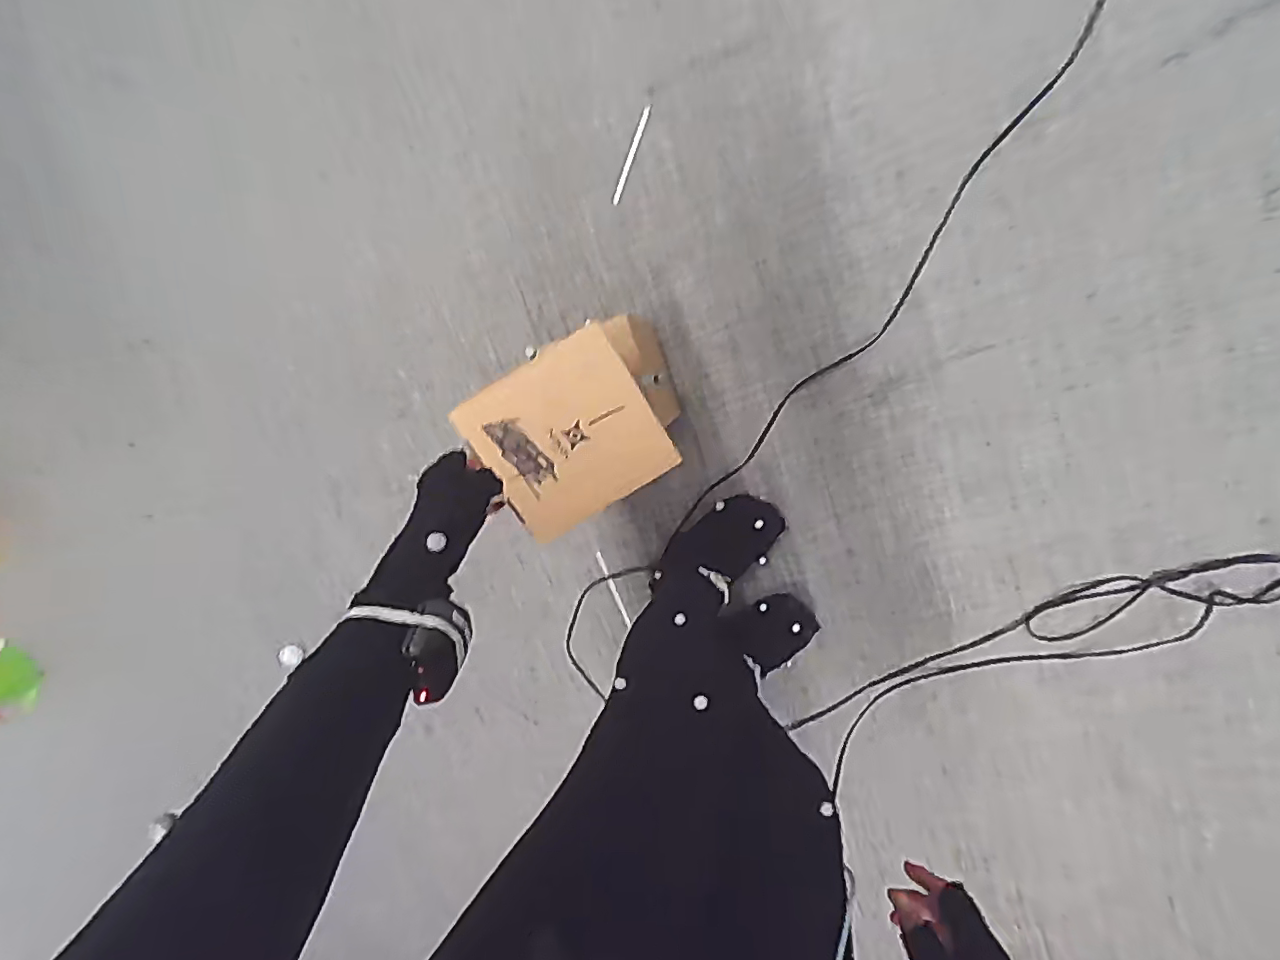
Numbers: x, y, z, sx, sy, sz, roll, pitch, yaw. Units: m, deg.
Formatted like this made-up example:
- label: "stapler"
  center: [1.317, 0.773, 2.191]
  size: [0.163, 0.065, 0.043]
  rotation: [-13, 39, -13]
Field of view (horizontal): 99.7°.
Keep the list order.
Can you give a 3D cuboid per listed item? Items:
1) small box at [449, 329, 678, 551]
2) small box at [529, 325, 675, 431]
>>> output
- label: "small box"
  center: [-0.079, -0.053, 0.614]
  size: [0.179, 0.176, 0.168]
  rotation: [-31, 105, 4]
- label: "small box"
  center: [-0.051, -0.146, 0.890]
  size: [0.168, 0.176, 0.179]
  rotation: [-16, 100, 17]
